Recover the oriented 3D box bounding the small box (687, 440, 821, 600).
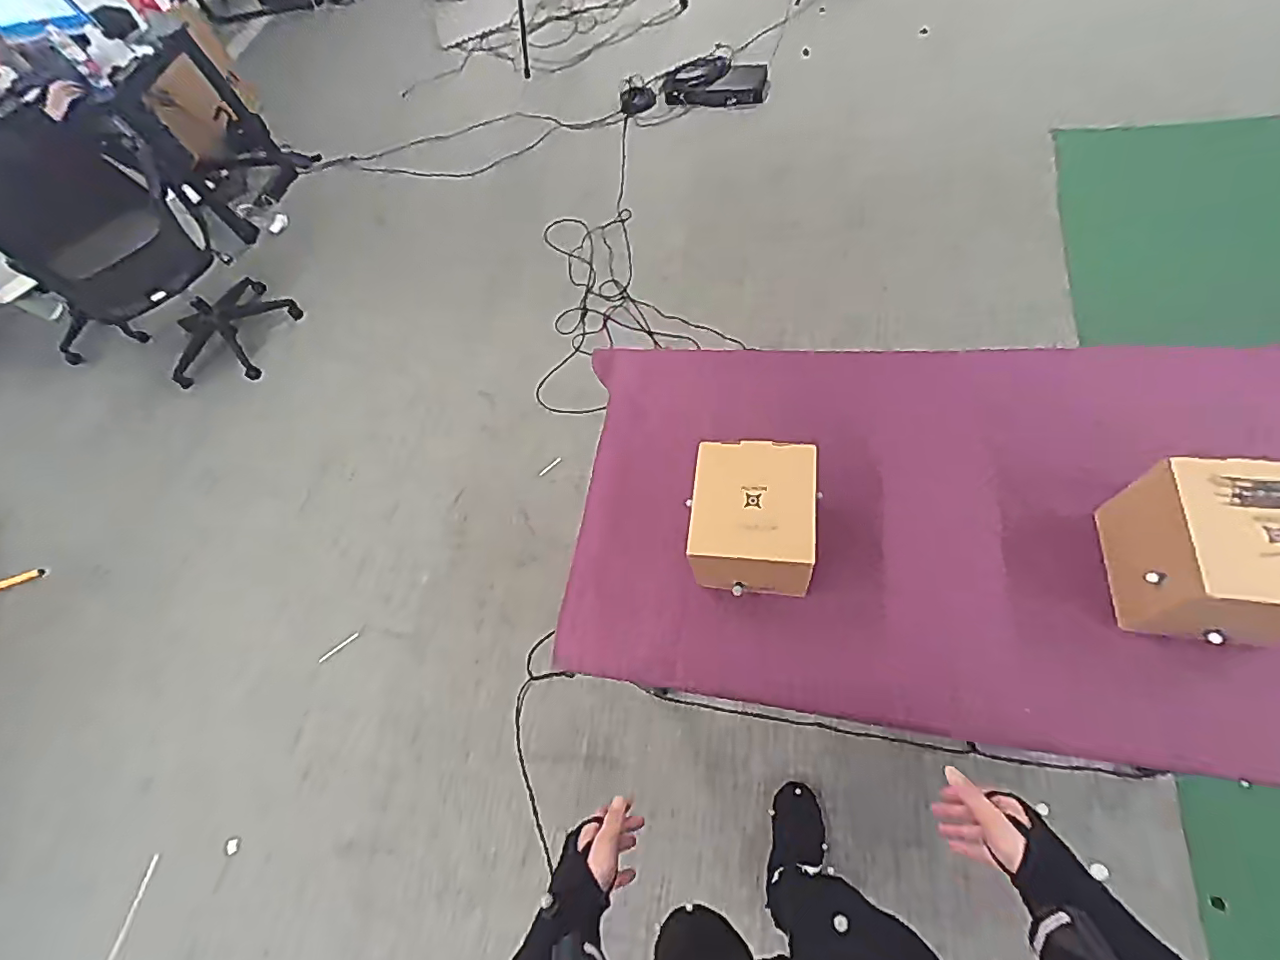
[{"bbox_3d":[0.168,0.061,0.791,0.168,0.176,0.179,4,64,14],"label":"small box"}]
